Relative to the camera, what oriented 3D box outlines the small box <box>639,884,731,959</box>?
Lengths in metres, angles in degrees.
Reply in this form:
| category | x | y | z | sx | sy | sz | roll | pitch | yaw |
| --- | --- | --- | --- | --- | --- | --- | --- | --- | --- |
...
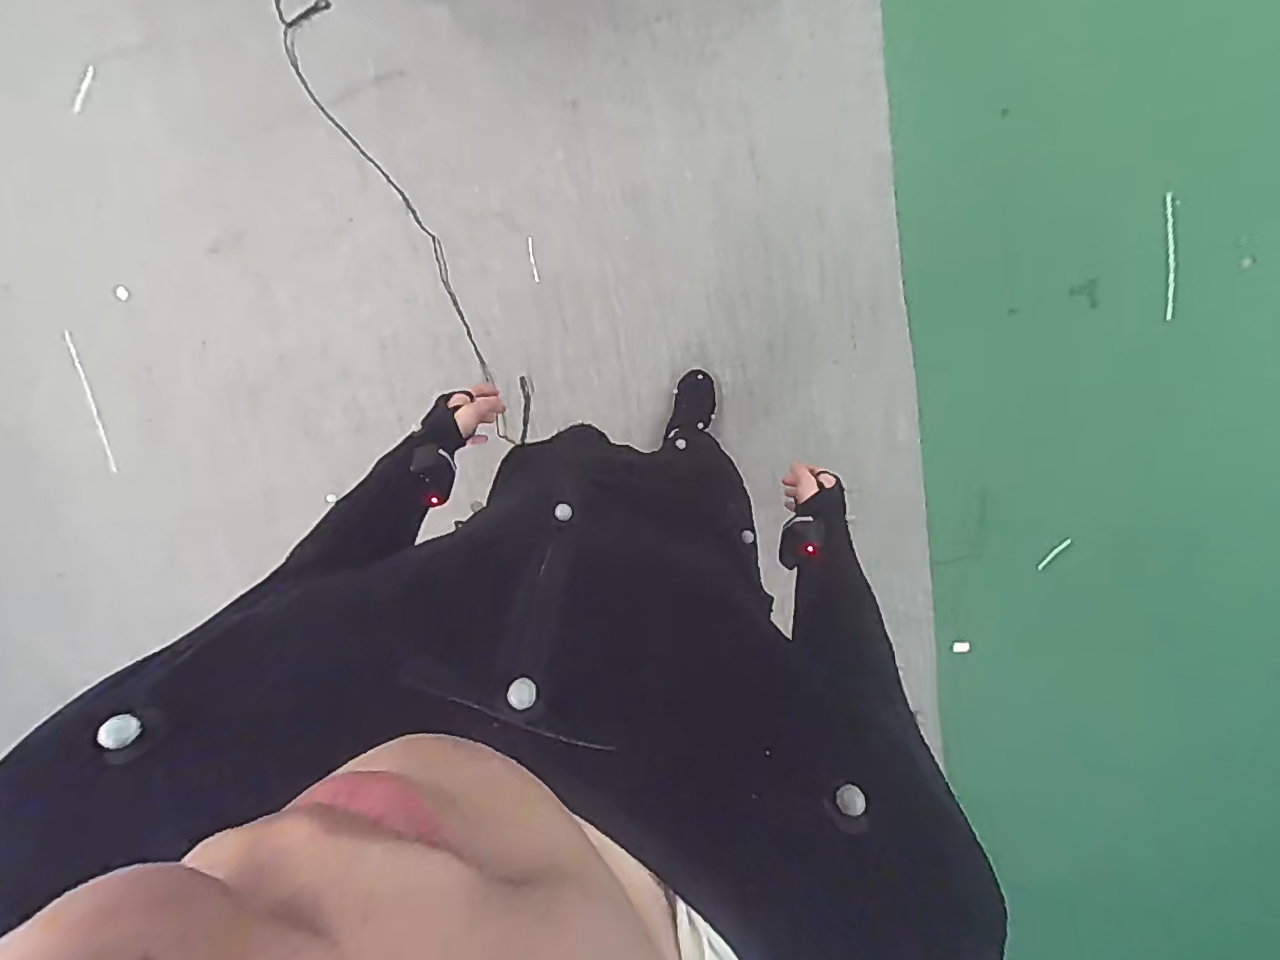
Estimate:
| category | x | y | z | sx | sy | sz | roll | pitch | yaw |
| --- | --- | --- | --- | --- | --- | --- | --- | --- | --- |
| small box | 0.094 | 0.964 | 1.100 | 0.168 | 0.176 | 0.179 | -11 | 100 | 6 |
